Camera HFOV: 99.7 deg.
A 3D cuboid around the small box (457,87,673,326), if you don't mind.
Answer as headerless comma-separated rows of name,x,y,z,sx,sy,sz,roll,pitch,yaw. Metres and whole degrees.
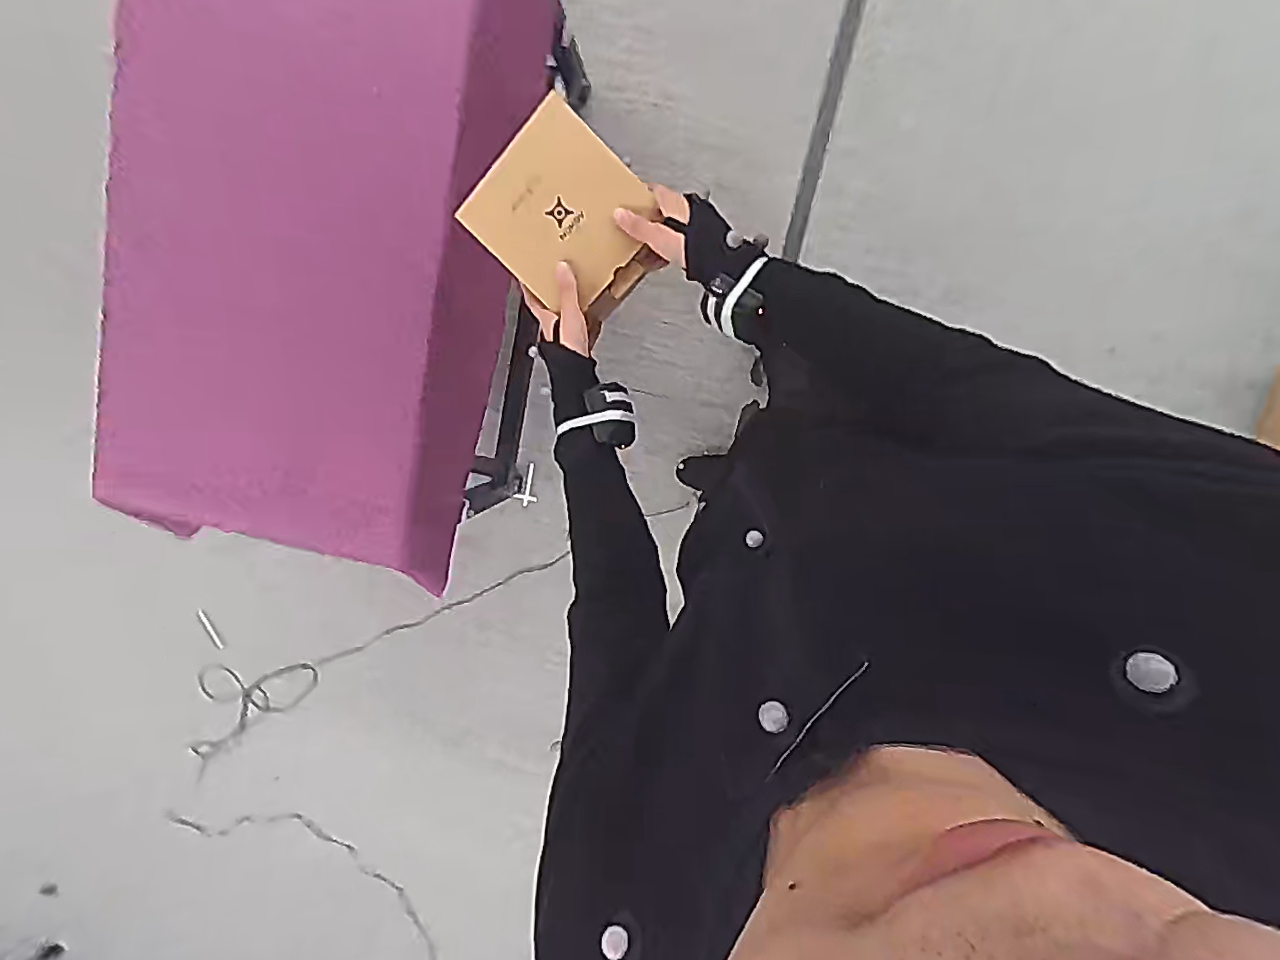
small box,-0.075,-0.306,0.651,0.179,0.176,0.168,44,102,-7
